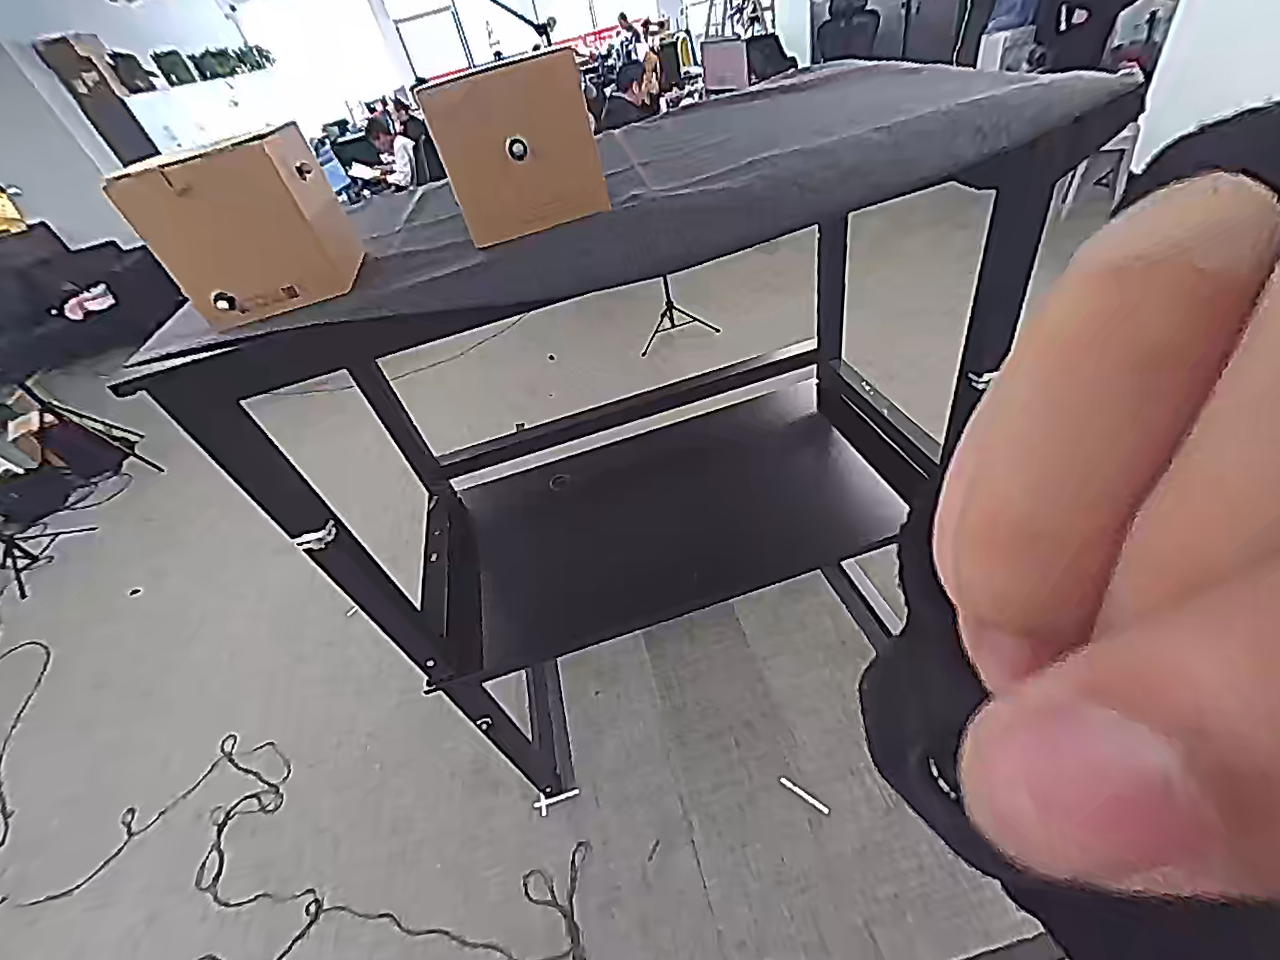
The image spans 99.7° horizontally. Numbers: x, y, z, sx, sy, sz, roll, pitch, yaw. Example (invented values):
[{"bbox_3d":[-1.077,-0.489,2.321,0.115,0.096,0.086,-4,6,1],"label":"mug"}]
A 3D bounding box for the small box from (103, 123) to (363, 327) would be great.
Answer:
[{"bbox_3d":[-0.465,-0.305,0.658,0.168,0.176,0.179,-19,41,-4],"label":"small box"}]
